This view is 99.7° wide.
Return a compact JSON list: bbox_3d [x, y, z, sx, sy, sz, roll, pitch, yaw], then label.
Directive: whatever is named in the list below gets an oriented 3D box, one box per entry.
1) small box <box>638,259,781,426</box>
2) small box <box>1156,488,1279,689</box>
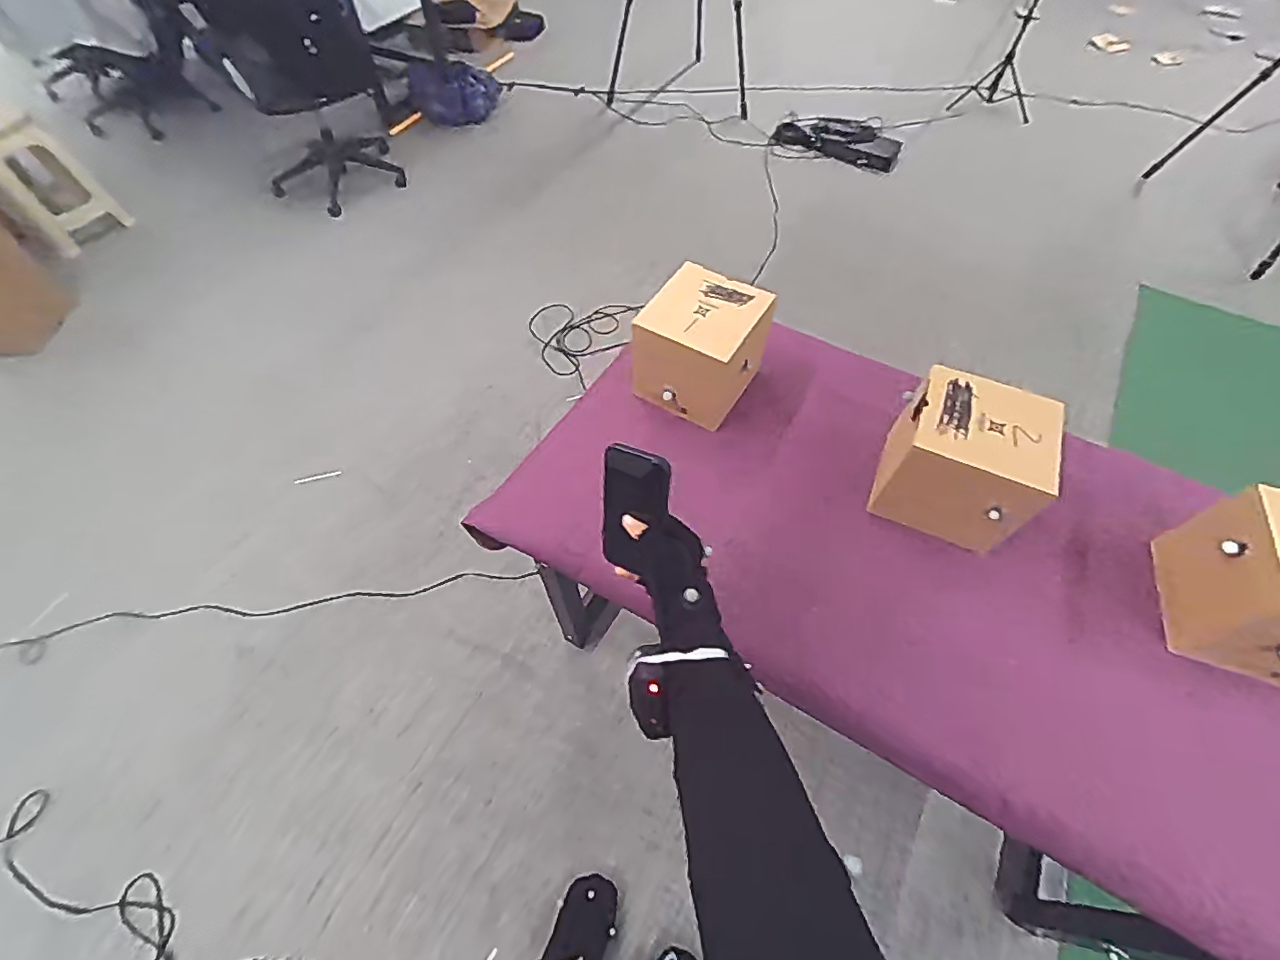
[{"bbox_3d":[0.107,-0.225,0.897,0.168,0.176,0.179,29,63,17],"label":"small box"},{"bbox_3d":[0.794,0.144,0.663,0.168,0.176,0.179,18,58,12],"label":"small box"}]
